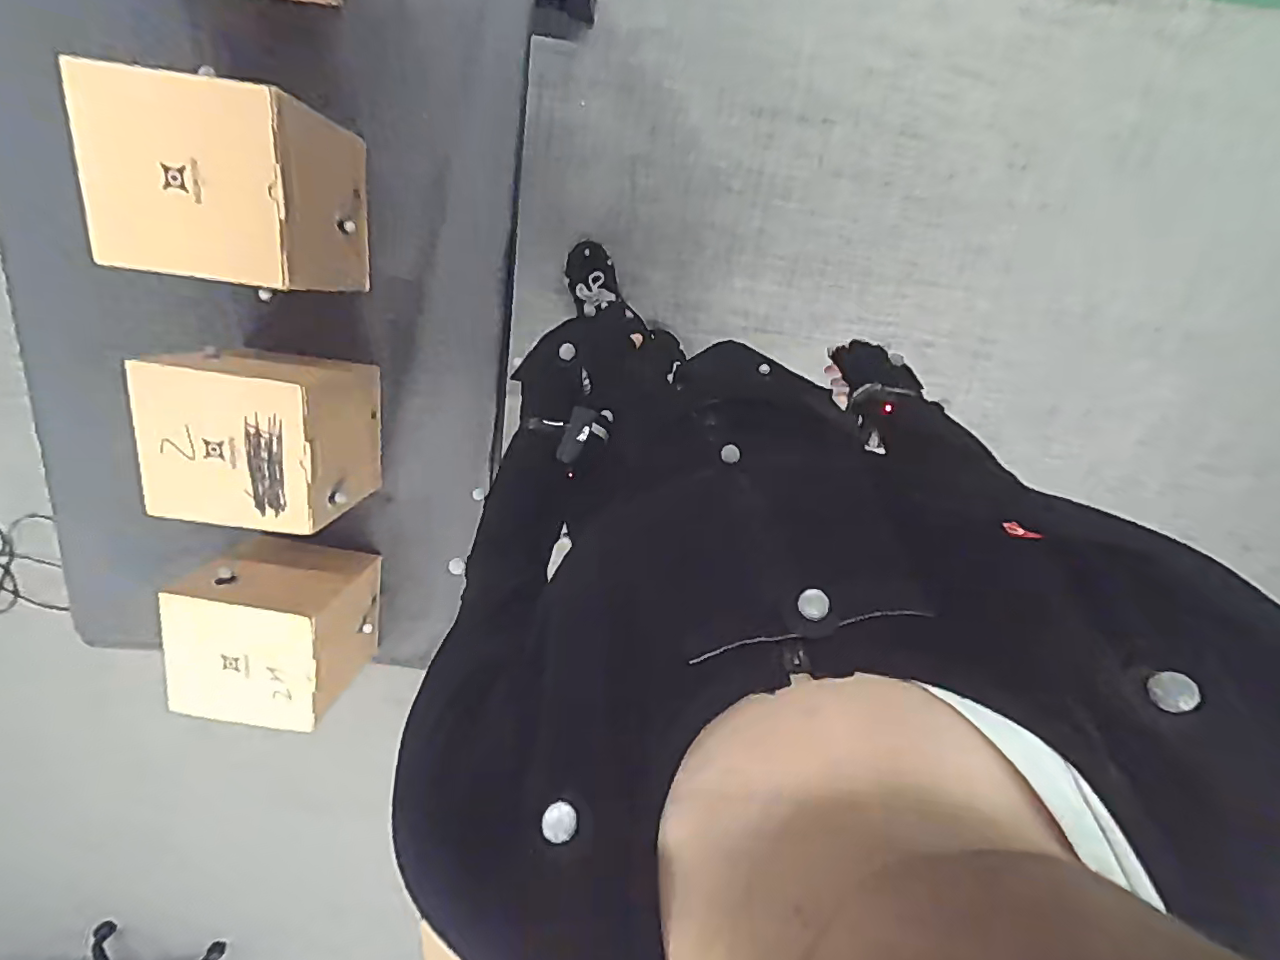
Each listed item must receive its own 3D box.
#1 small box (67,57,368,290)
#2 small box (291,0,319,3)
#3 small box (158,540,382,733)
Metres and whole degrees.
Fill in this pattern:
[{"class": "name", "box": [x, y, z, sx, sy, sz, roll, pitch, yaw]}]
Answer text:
[{"class": "small box", "box": [-0.407, -0.293, 0.557, 0.179, 0.176, 0.168, 6, 107, -3]}, {"class": "small box", "box": [-0.388, -0.561, 0.469, 0.179, 0.176, 0.168, 6, 108, -2]}, {"class": "small box", "box": [-0.466, 0.191, 0.703, 0.179, 0.176, 0.168, 10, 107, -3]}]
